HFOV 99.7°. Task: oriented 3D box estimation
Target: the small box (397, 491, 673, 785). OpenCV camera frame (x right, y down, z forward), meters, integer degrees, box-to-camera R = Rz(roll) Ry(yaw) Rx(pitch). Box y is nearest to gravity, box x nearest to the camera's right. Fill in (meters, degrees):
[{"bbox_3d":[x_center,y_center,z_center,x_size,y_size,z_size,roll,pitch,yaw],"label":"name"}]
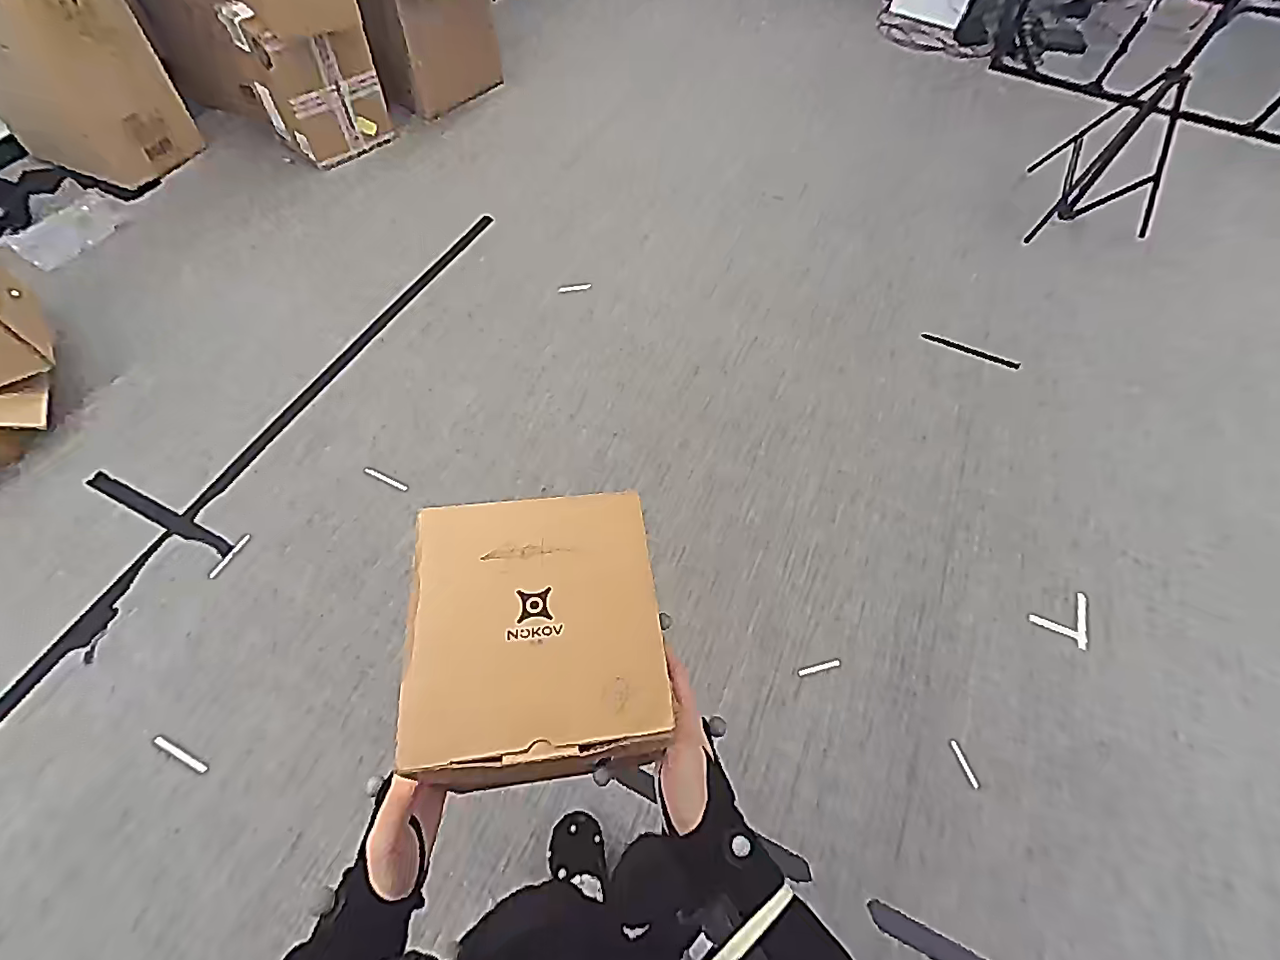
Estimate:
[{"bbox_3d":[-0.075,0.131,0.427,0.168,0.176,0.179,-5,57,-9],"label":"small box"}]
